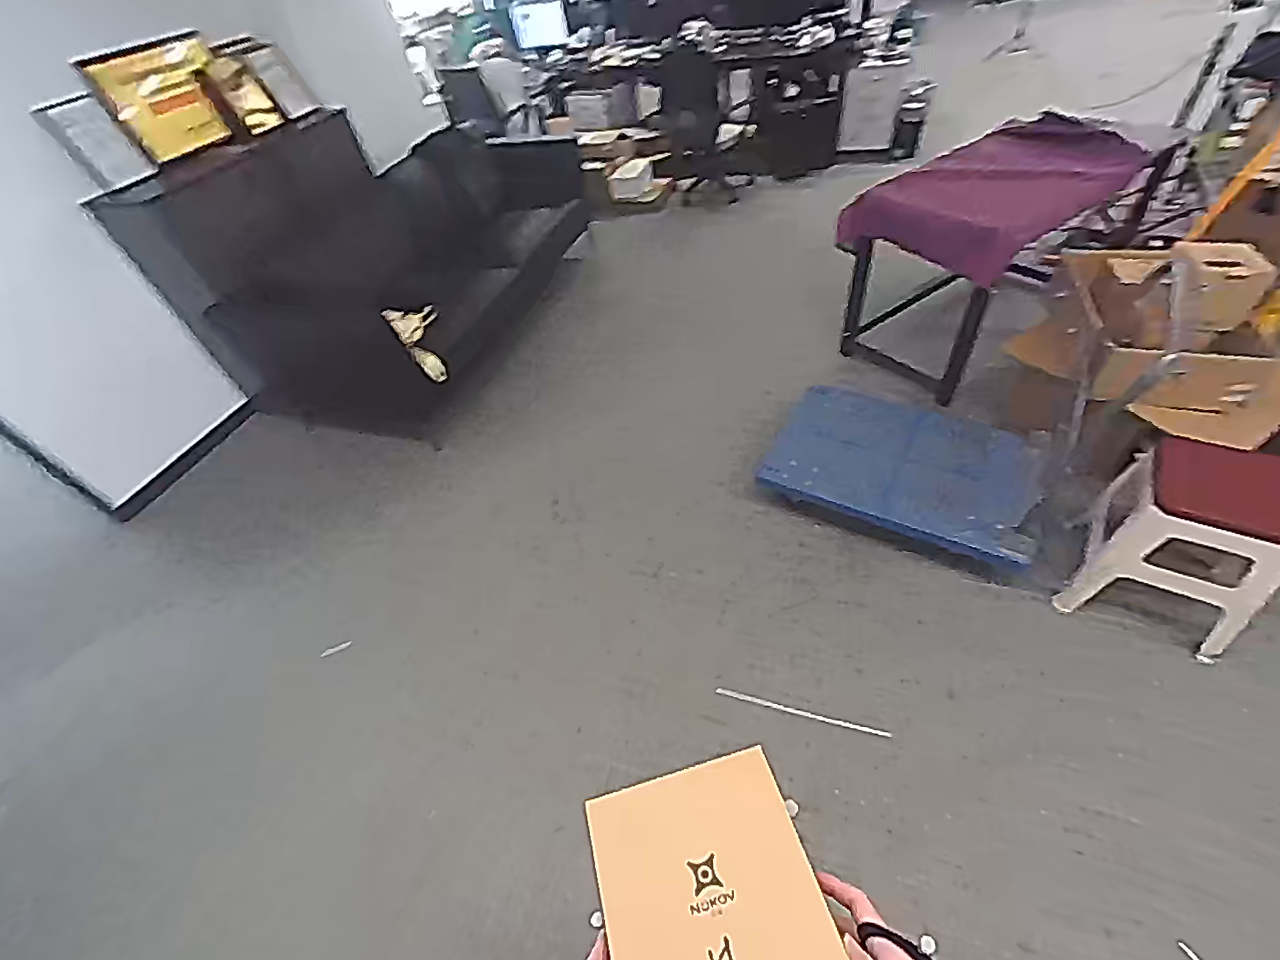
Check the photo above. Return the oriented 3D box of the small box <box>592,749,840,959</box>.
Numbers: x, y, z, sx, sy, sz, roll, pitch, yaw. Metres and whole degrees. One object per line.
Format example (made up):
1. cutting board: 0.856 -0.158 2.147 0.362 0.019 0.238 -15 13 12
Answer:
1. small box: 0.059 0.379 0.485 0.168 0.176 0.179 -13 44 -5
